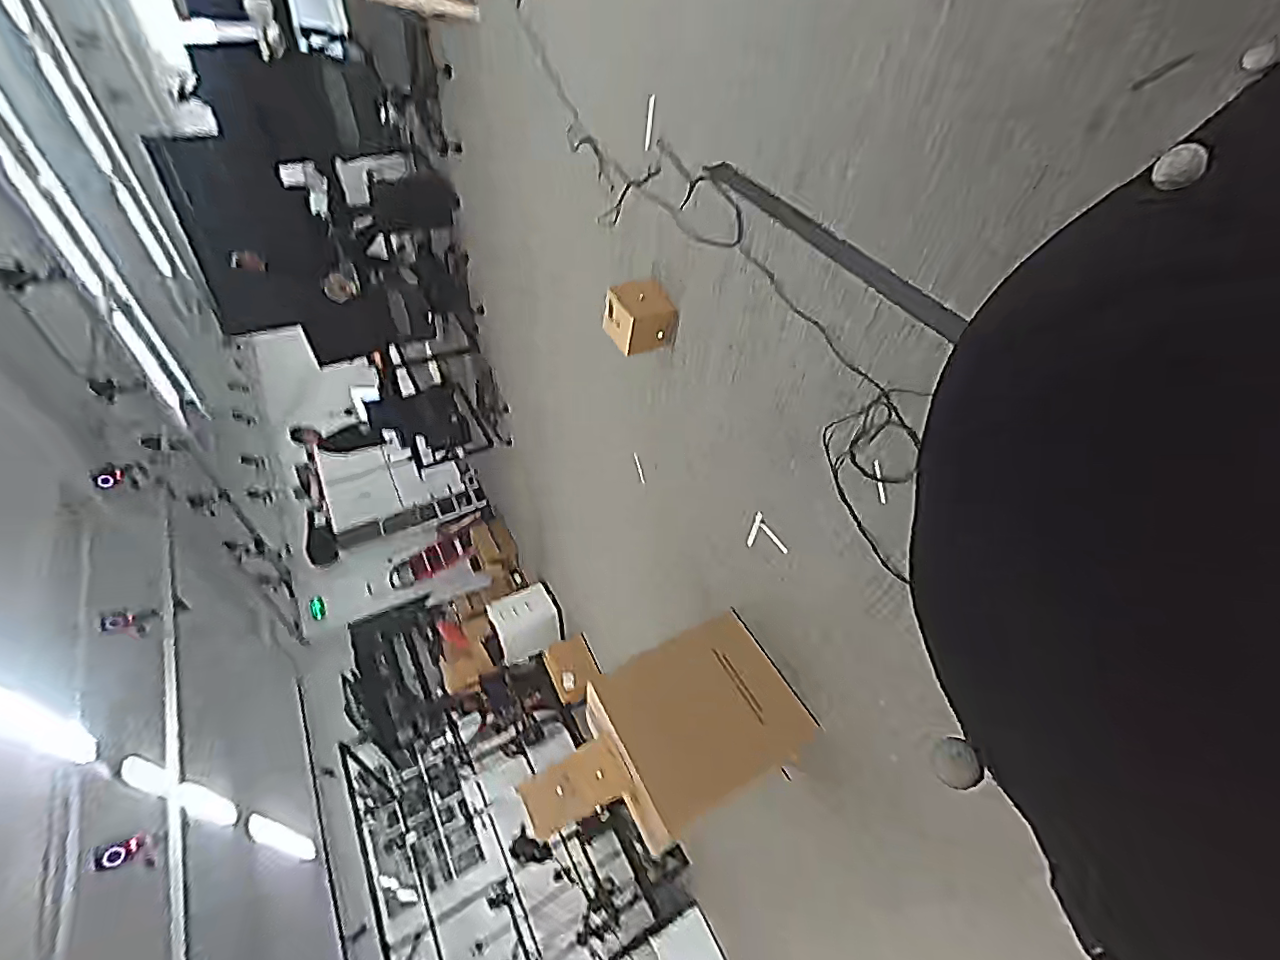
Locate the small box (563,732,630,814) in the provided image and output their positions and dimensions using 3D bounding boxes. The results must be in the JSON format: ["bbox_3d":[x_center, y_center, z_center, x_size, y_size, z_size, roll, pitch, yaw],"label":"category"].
[{"bbox_3d":[-0.147,0.973,1.800,0.168,0.176,0.179,54,153,31],"label":"small box"}]

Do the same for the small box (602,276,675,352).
[{"bbox_3d":[-0.007,-0.564,1.820,0.179,0.176,0.168,56,154,25],"label":"small box"}]

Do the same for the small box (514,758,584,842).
[{"bbox_3d":[-0.291,1.029,1.741,0.168,0.176,0.179,54,153,29],"label":"small box"}]
